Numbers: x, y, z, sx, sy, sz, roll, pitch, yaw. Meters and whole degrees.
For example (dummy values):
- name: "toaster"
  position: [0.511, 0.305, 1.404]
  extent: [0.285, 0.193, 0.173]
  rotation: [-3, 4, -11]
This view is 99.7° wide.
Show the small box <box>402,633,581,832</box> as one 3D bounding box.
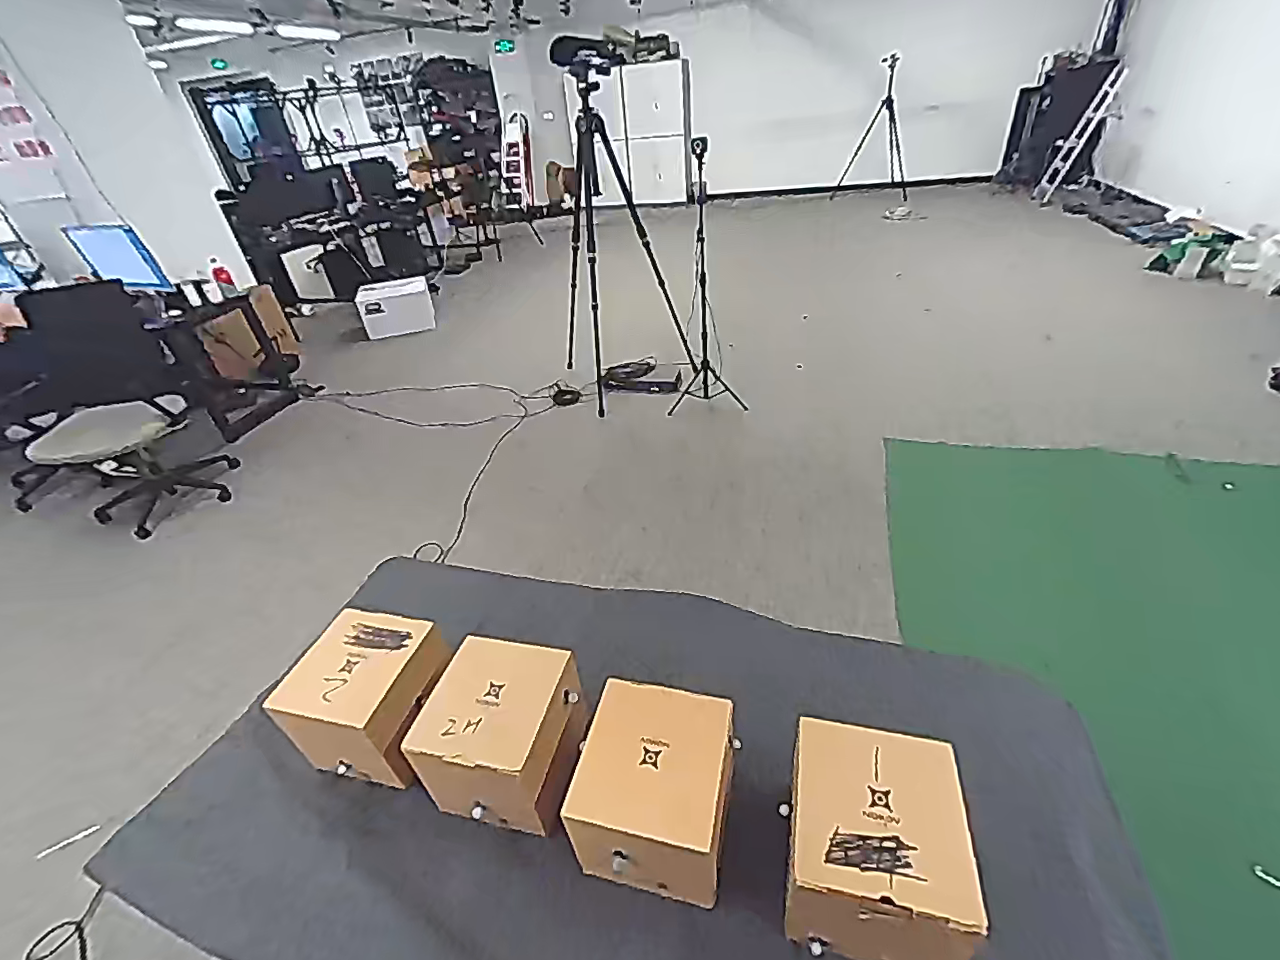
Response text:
- name: "small box"
  position: [-0.189, 0.347, 0.754]
  extent: [0.168, 0.176, 0.179]
  rotation: [4, 37, 15]

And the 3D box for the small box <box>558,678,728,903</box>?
- name: "small box"
  position: [0.018, 0.383, 0.674]
  extent: [0.168, 0.176, 0.179]
  rotation: [5, 36, 15]
